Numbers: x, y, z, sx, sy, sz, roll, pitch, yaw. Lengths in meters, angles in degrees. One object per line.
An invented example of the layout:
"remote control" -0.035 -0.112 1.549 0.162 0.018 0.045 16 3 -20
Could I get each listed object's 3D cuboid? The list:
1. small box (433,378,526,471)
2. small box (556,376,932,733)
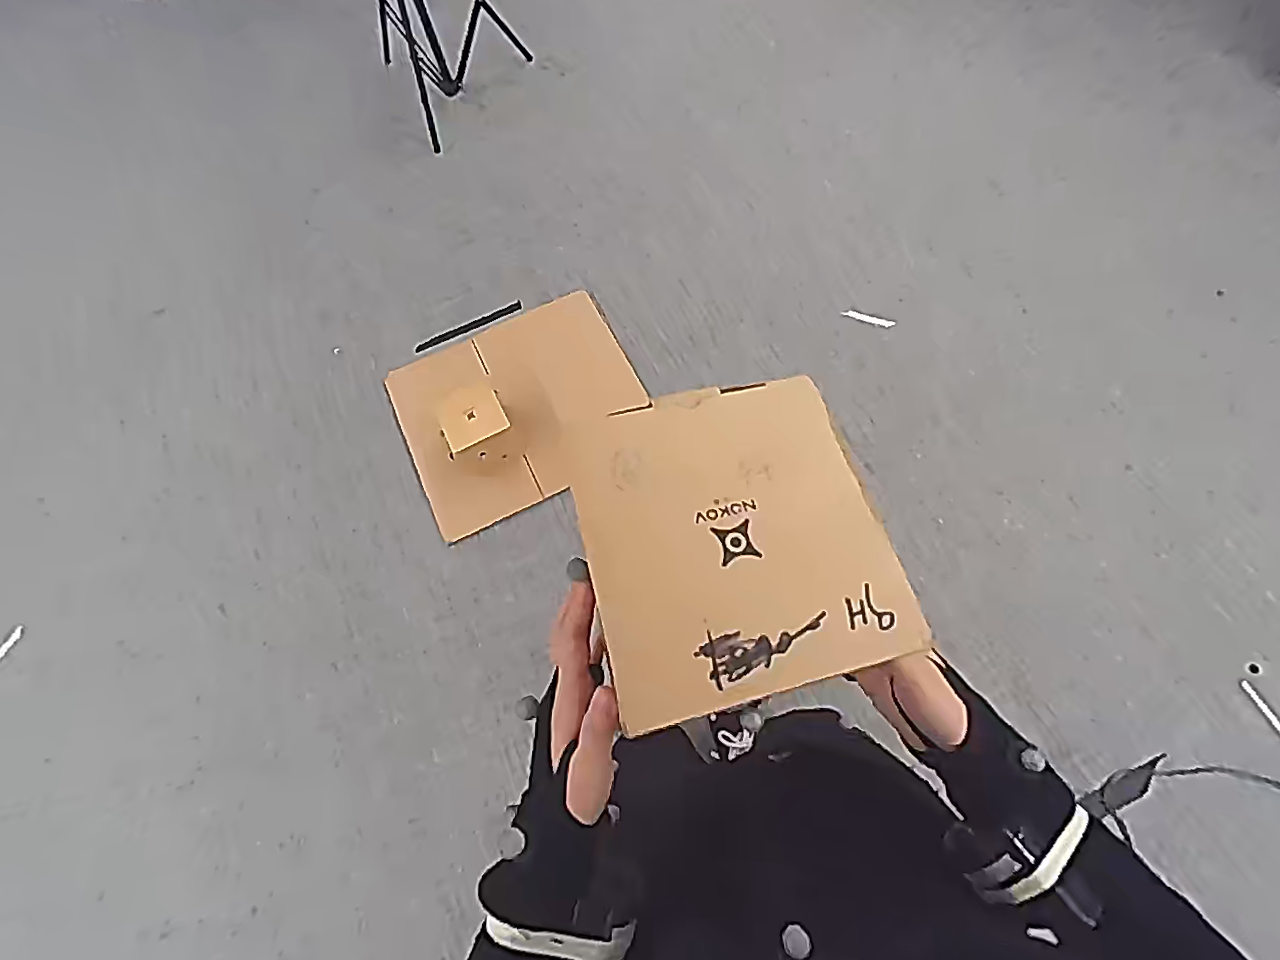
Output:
"small box" -0.438 -0.143 1.503 0.168 0.176 0.179 -28 70 -7
"small box" 0.046 0.060 0.367 0.168 0.176 0.179 -14 66 -7
